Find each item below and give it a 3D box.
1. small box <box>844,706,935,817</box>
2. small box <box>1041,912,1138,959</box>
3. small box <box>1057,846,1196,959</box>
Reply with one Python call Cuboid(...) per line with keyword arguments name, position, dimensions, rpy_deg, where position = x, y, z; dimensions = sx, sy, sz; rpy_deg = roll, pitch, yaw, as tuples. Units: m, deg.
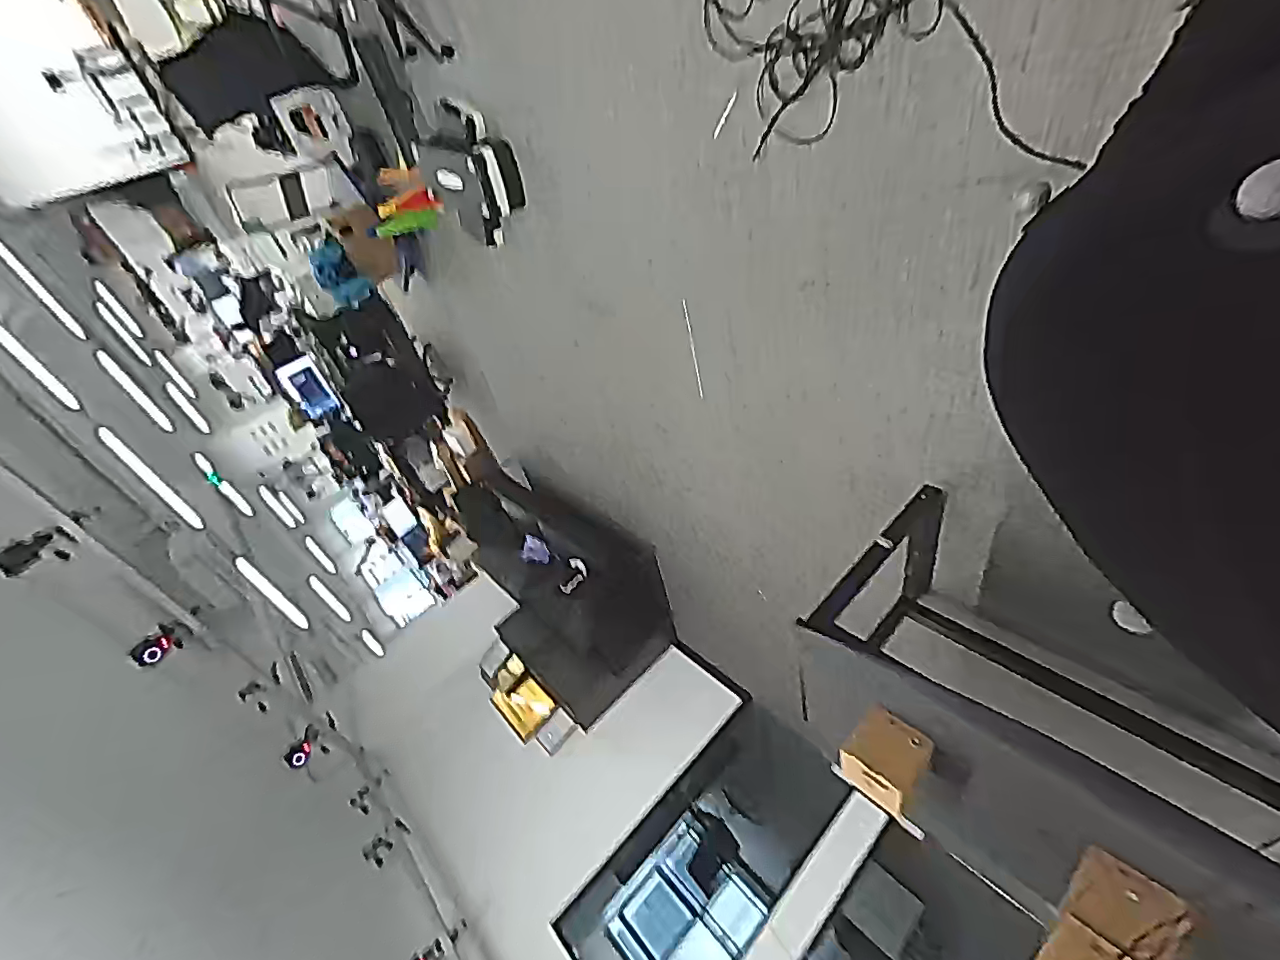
Cuboid(name="small box", position=(0.668, 0.747, 1.450), dimensions=(0.168, 0.176, 0.179), rpy_deg=(27, 146, 42))
Cuboid(name="small box", position=(0.874, 0.992, 1.039), dimensions=(0.168, 0.176, 0.179), rpy_deg=(25, 144, 45))
Cuboid(name="small box", position=(0.993, 0.908, 1.111), dimensions=(0.168, 0.176, 0.179), rpy_deg=(23, 143, 45))
